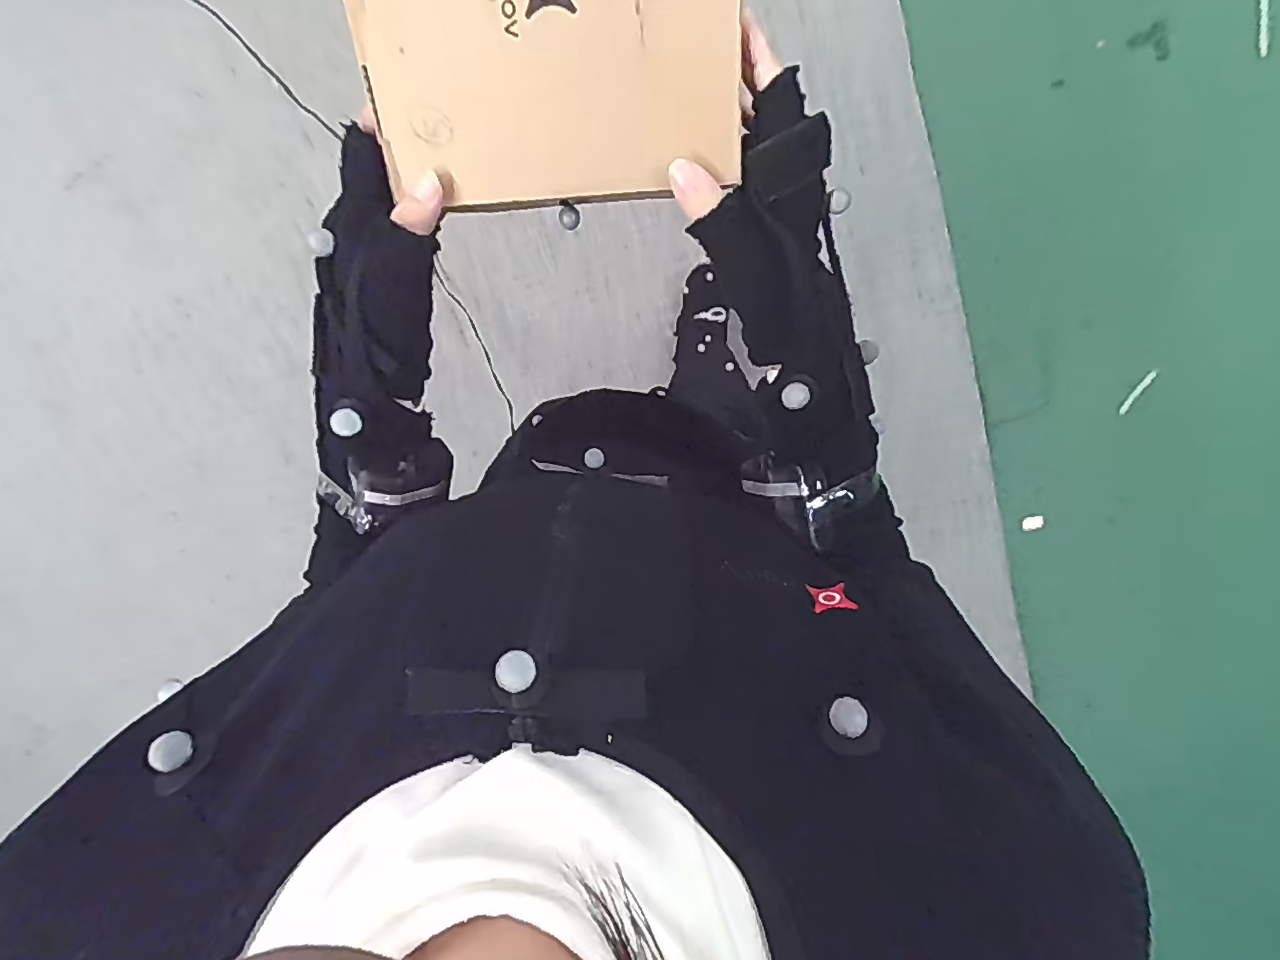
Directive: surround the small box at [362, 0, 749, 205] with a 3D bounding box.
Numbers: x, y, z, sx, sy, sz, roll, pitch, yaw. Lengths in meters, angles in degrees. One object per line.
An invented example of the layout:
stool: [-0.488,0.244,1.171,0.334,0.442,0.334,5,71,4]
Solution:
small box: [-0.037,-0.255,0.308,0.179,0.176,0.168,-4,117,3]
